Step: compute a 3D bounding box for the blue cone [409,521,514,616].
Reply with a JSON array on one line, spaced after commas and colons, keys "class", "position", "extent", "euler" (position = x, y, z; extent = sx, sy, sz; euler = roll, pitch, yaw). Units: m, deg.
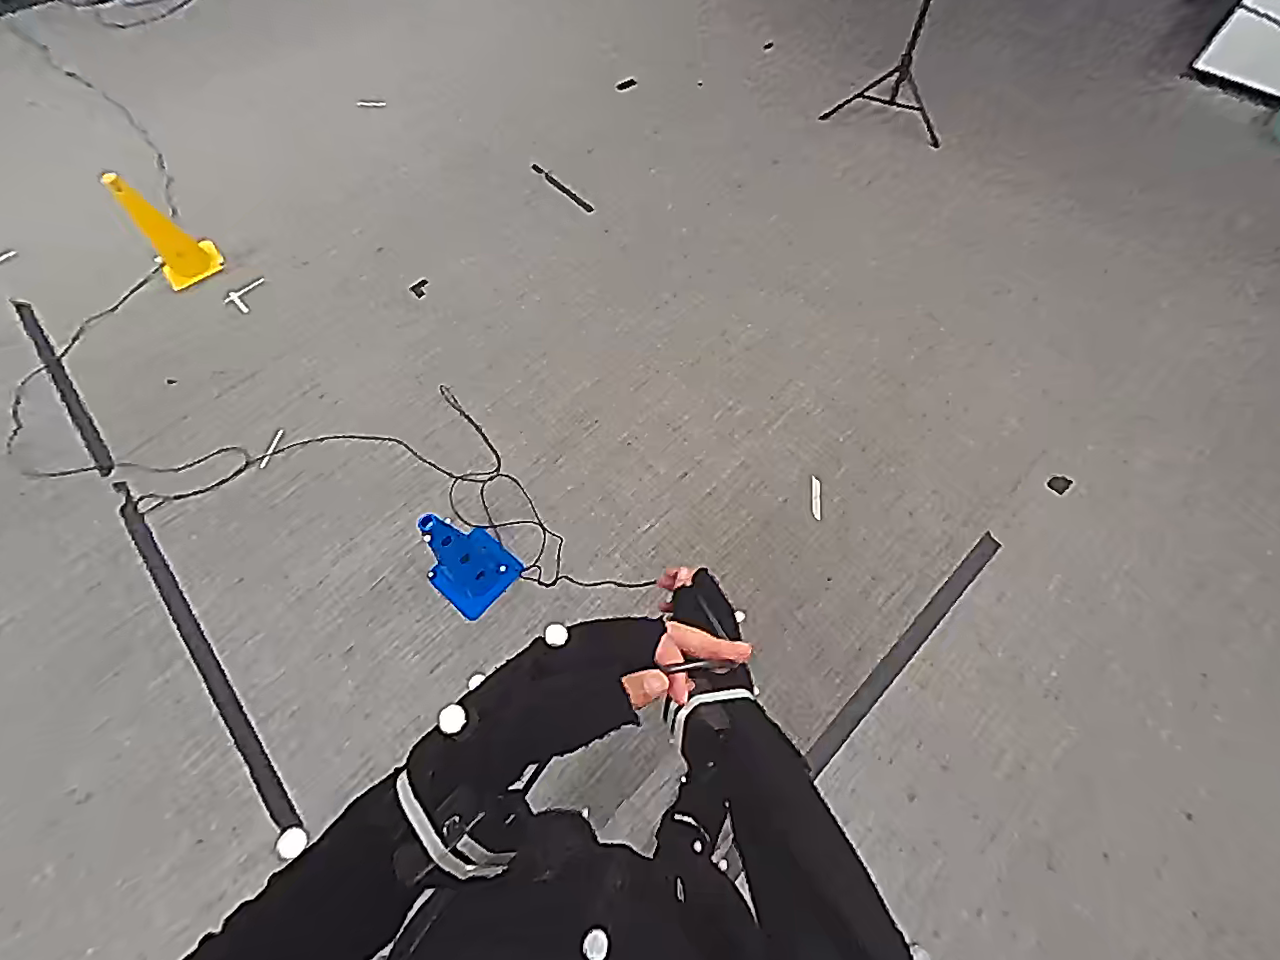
[{"class": "blue cone", "position": [-0.464, 0.179, 1.324], "extent": [0.193, 0.380, 0.192], "euler": [38, 71, 19]}]
